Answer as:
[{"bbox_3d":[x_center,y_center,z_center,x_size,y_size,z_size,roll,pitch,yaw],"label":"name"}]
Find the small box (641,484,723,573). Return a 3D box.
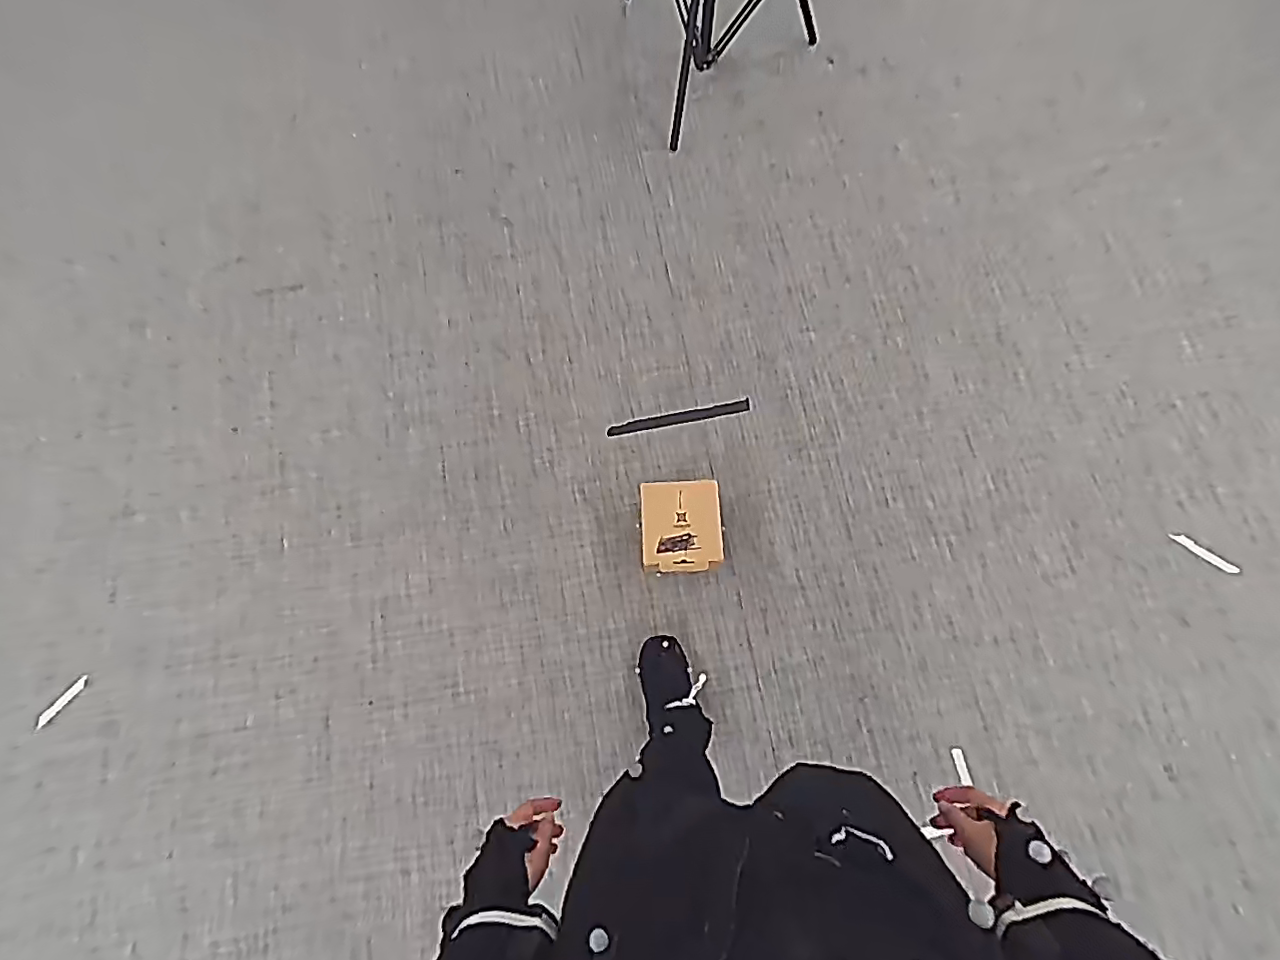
[{"bbox_3d":[0.090,0.114,1.197,0.168,0.176,0.179,-3,75,0],"label":"small box"}]
